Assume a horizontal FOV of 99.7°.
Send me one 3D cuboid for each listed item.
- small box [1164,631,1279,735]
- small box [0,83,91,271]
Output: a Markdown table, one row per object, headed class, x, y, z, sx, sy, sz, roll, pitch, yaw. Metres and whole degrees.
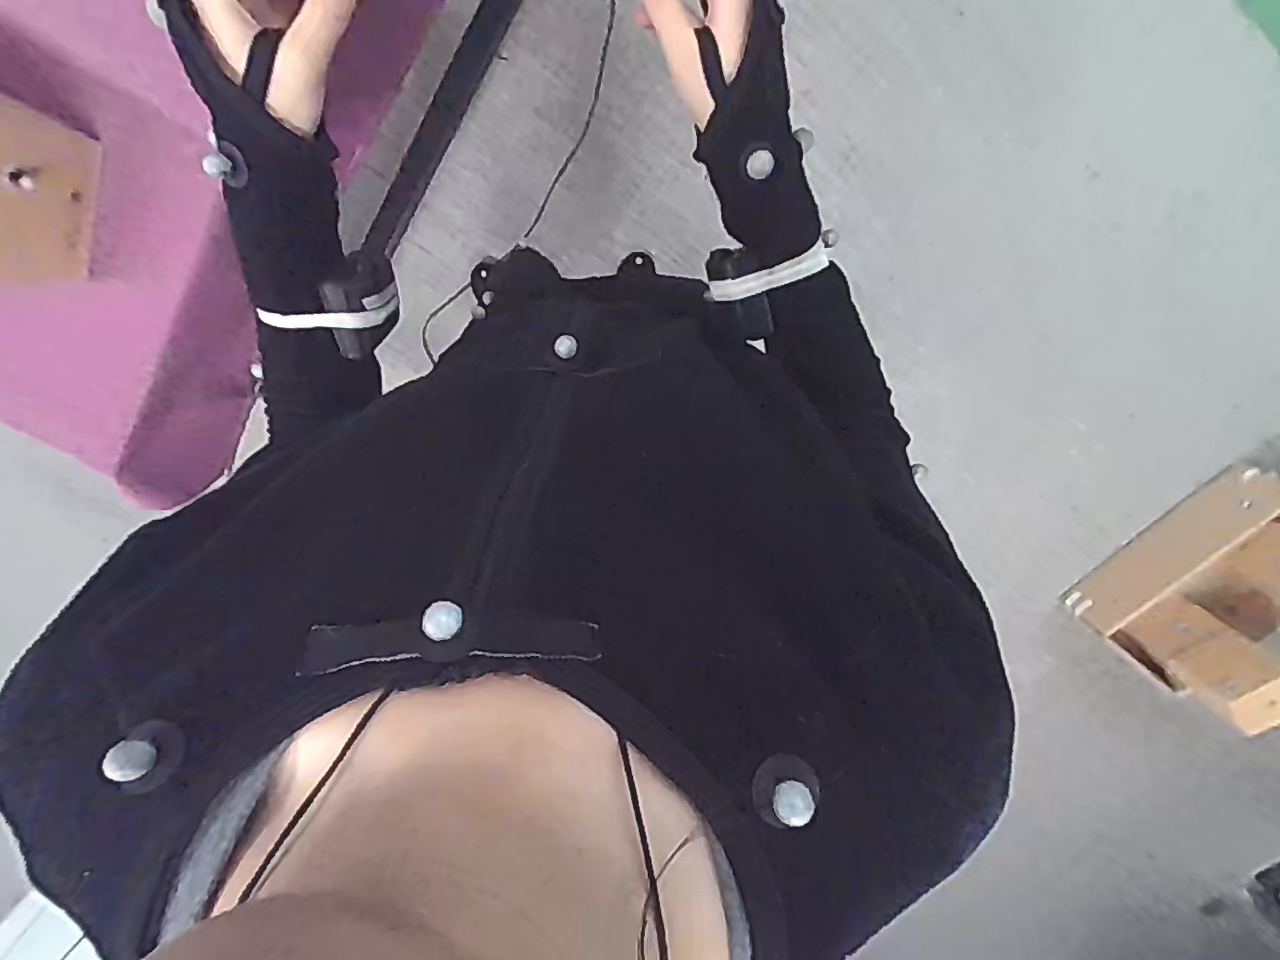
| class | x | y | z | sx | sy | sz | roll | pitch | yaw |
| --- | --- | --- | --- | --- | --- | --- | --- | --- | --- |
| small box | 1.625 | 0.553 | 1.490 | 0.179 | 0.176 | 0.168 | -39 | 107 | 16 |
| small box | -0.710 | -0.323 | 0.532 | 0.179 | 0.176 | 0.168 | 27 | 110 | -11 |
